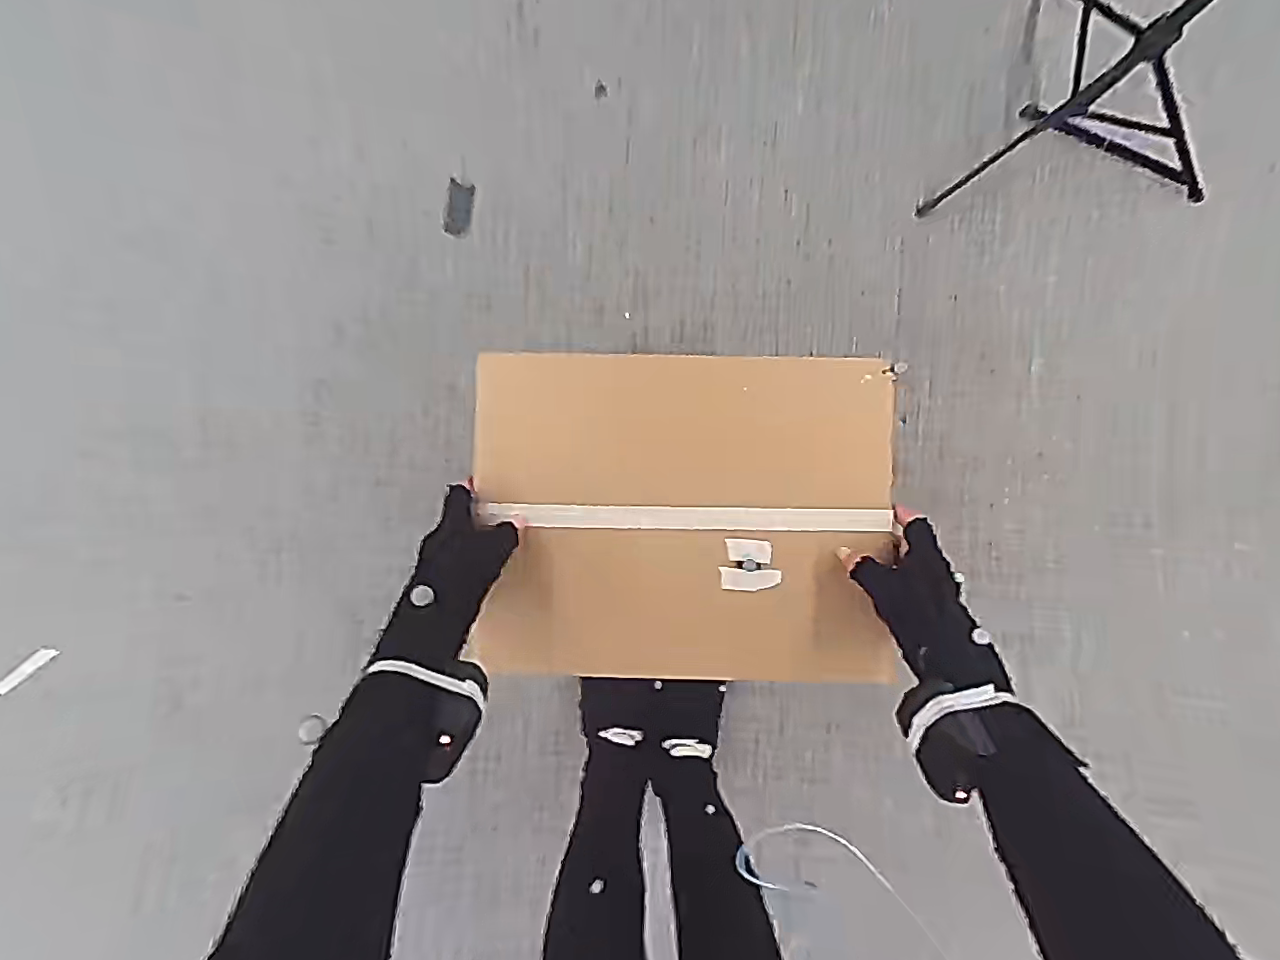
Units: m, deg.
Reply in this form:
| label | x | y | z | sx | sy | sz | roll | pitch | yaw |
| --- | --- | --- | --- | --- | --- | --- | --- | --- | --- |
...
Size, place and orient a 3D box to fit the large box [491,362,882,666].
| label | x | y | z | sx | sy | sz | roll | pitch | yaw |
| --- | --- | --- | --- | --- | --- | --- | --- | --- | --- |
| large box | 0.047 | 0.038 | 0.698 | 0.408 | 0.320 | 0.320 | 1 | 90 | 1 |
